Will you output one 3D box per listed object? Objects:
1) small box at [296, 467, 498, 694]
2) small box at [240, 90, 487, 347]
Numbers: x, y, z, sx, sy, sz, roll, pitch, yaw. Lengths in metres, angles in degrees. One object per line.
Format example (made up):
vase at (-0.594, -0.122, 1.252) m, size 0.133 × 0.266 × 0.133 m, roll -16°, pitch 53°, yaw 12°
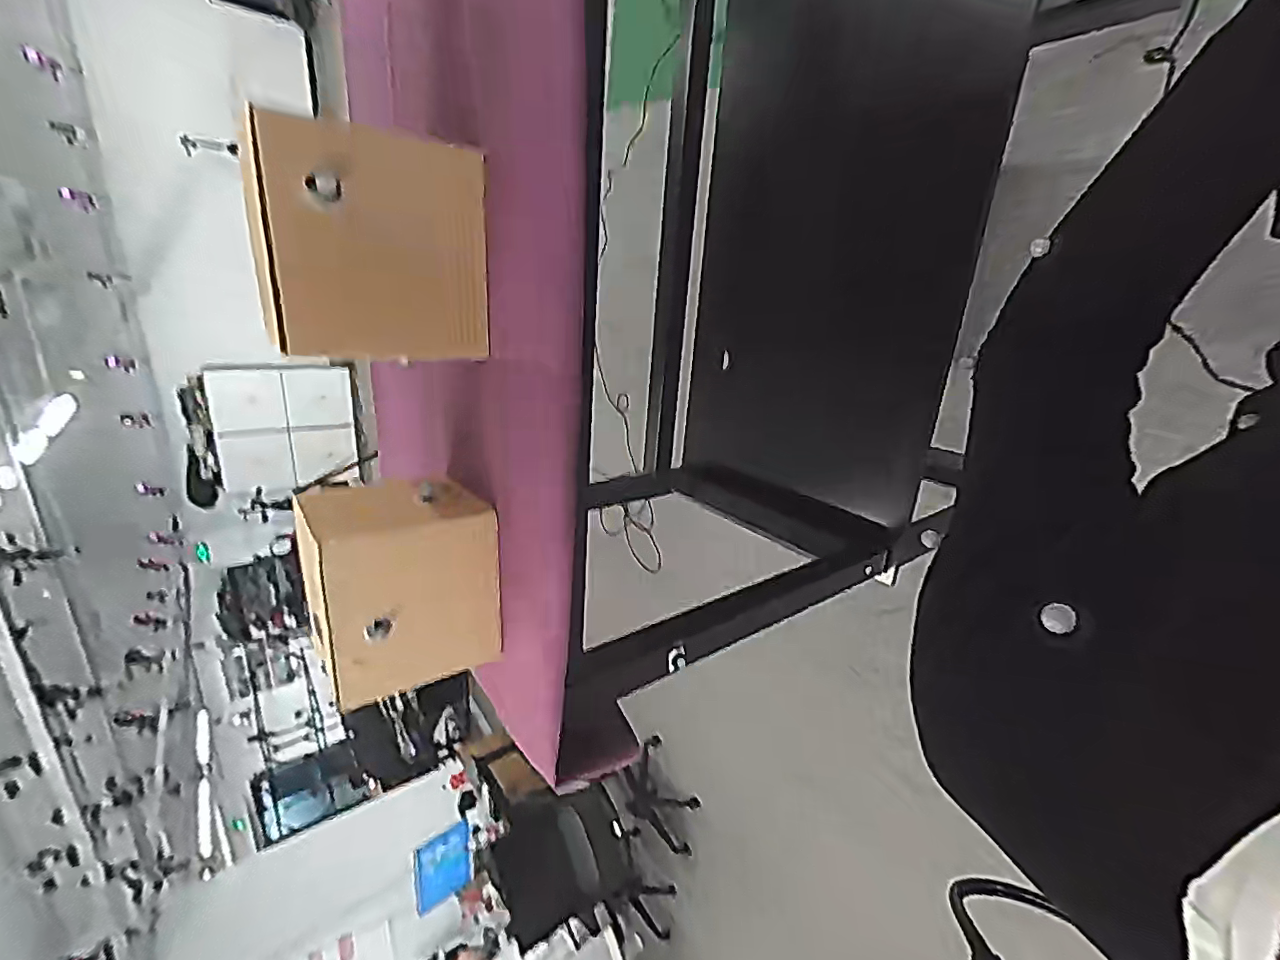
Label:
small box at (-0.266, 0.094, 0.601) m, size 0.168 × 0.176 × 0.179 m, roll 22°, pitch 115°, yaw 49°
small box at (-0.251, -0.223, 0.503) m, size 0.168 × 0.176 × 0.179 m, roll 27°, pitch 120°, yaw 49°
